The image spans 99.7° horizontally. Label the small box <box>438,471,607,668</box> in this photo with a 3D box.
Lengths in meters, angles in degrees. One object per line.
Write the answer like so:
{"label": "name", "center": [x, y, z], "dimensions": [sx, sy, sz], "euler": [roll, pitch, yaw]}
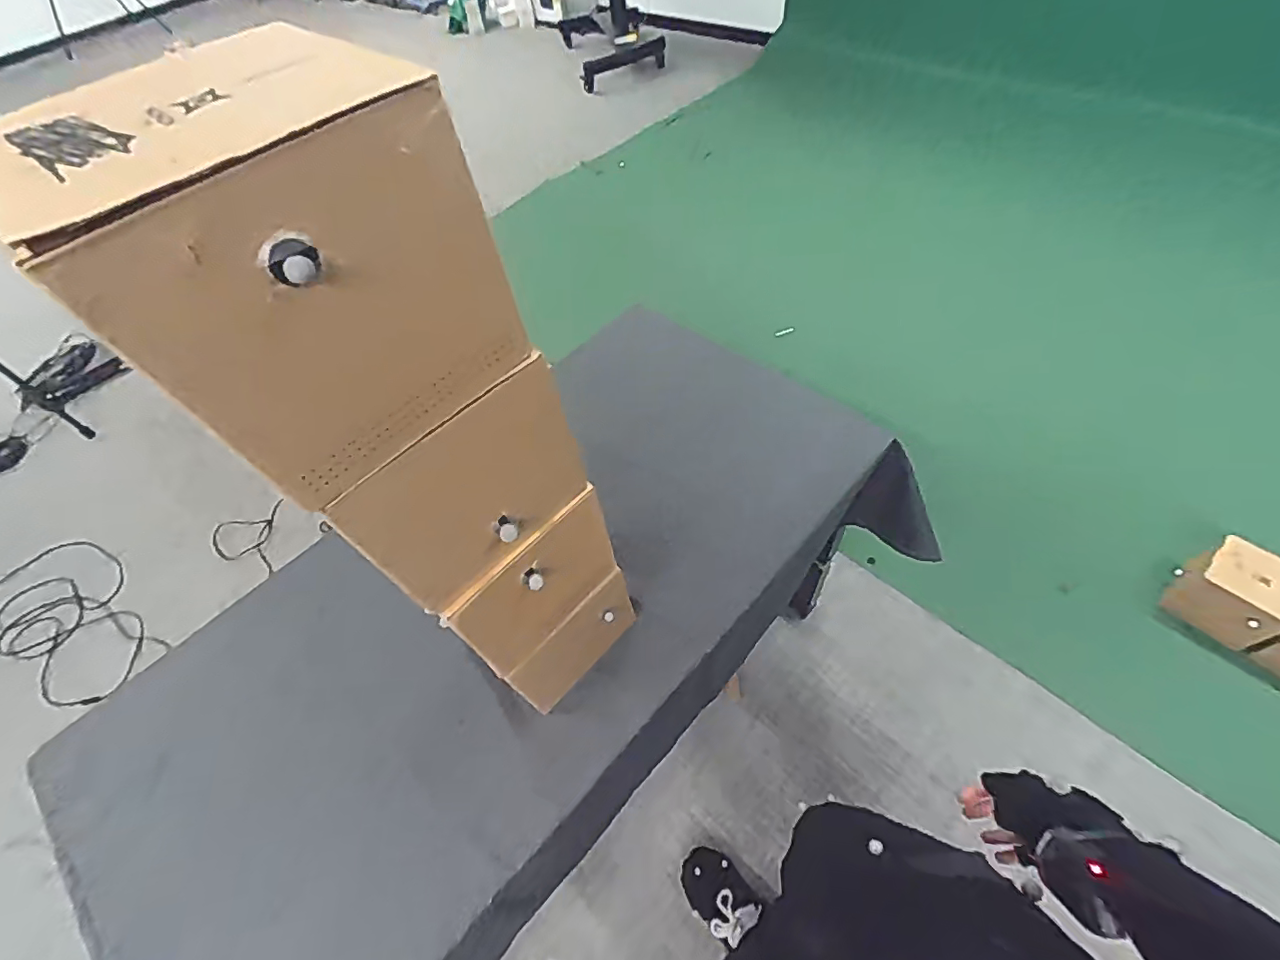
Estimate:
{"label": "small box", "center": [-0.151, 0.067, 0.585], "dimensions": [0.168, 0.176, 0.179], "euler": [35, 66, 27]}

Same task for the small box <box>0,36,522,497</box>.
{"label": "small box", "center": [-0.199, -0.122, 0.320], "dimensions": [0.168, 0.176, 0.179], "euler": [36, 66, 27]}

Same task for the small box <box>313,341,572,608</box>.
{"label": "small box", "center": [-0.174, -0.029, 0.455], "dimensions": [0.179, 0.176, 0.168], "euler": [-41, 59, -21]}
